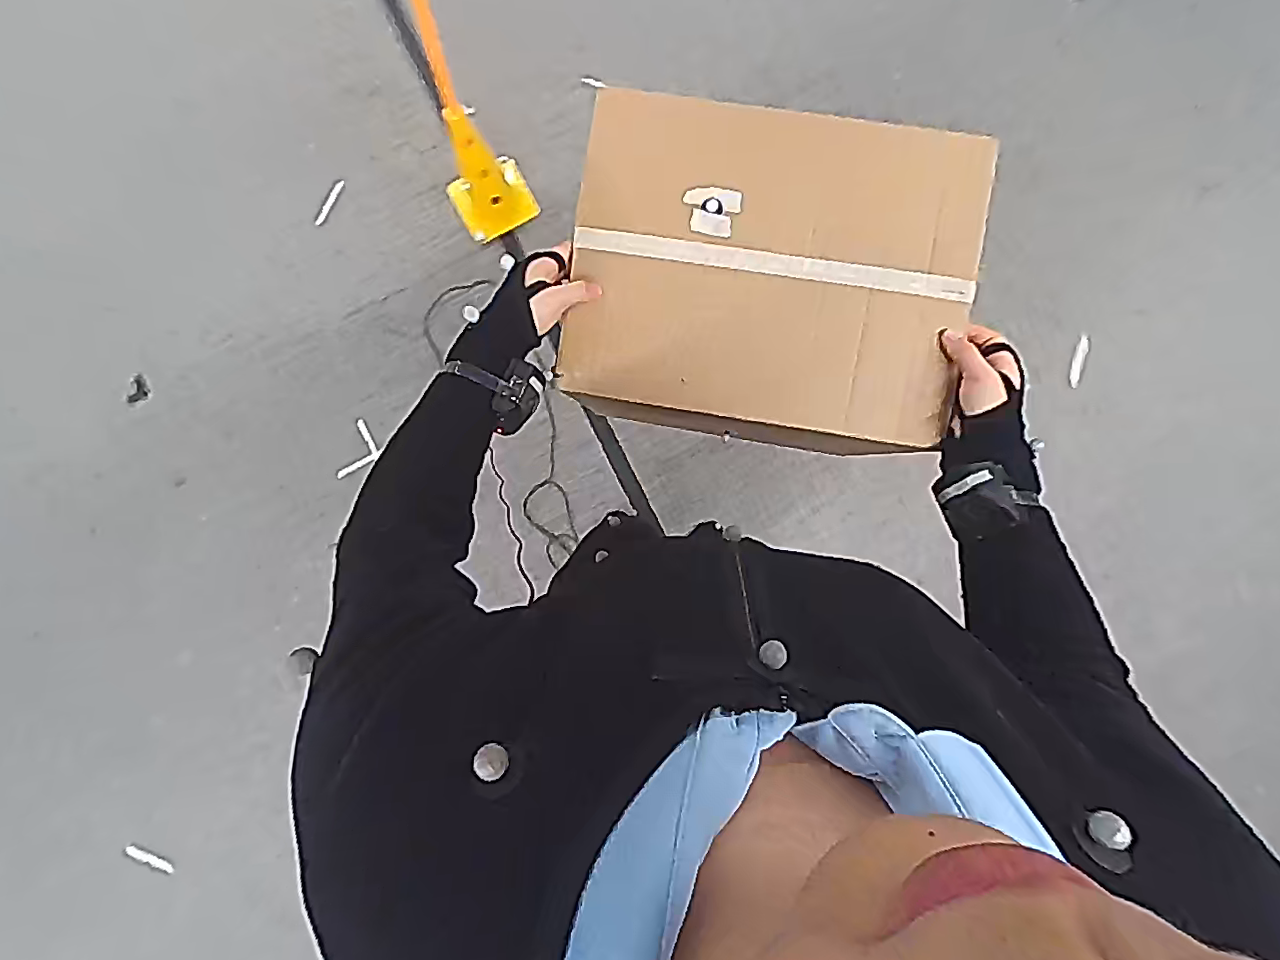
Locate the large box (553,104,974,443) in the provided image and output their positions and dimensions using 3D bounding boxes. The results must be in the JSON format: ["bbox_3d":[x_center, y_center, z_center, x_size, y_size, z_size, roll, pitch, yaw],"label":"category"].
[{"bbox_3d":[0.133,-0.224,0.706,0.408,0.320,0.320,8,91,4],"label":"large box"}]
